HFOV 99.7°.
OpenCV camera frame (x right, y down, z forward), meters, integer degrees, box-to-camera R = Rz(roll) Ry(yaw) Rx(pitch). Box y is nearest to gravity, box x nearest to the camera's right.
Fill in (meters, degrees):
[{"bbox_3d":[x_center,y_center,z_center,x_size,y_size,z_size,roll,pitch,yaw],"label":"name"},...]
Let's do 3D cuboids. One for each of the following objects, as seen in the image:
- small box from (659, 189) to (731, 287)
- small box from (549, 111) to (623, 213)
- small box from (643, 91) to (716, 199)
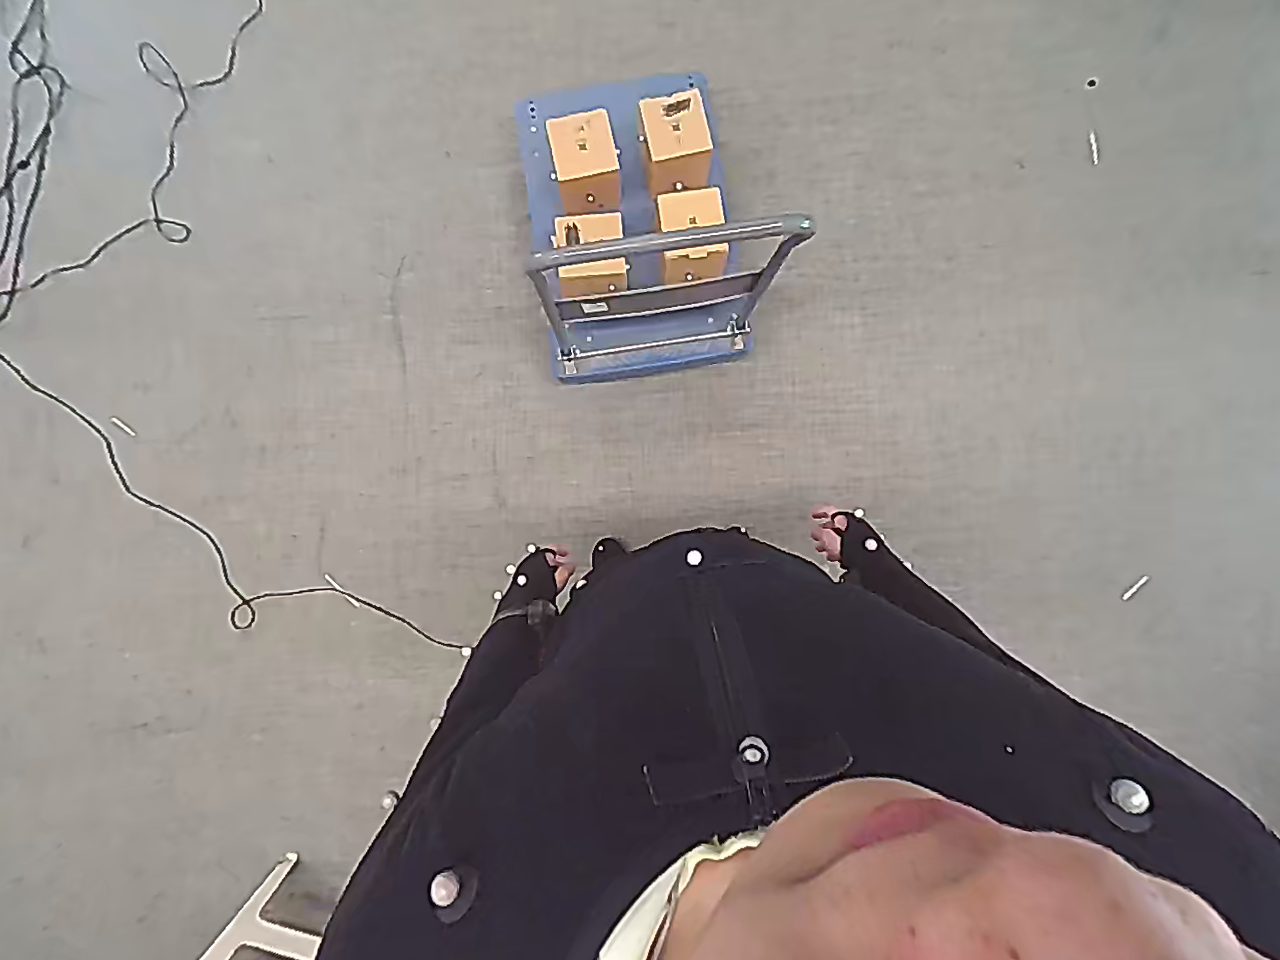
[{"bbox_3d":[0.144,-0.652,1.471,0.168,0.176,0.179,-8,85,0],"label":"small box"},{"bbox_3d":[-0.143,-0.864,1.490,0.168,0.176,0.179,-12,85,-2],"label":"small box"},{"bbox_3d":[0.103,-0.918,1.493,0.168,0.176,0.179,-12,86,0],"label":"small box"}]
